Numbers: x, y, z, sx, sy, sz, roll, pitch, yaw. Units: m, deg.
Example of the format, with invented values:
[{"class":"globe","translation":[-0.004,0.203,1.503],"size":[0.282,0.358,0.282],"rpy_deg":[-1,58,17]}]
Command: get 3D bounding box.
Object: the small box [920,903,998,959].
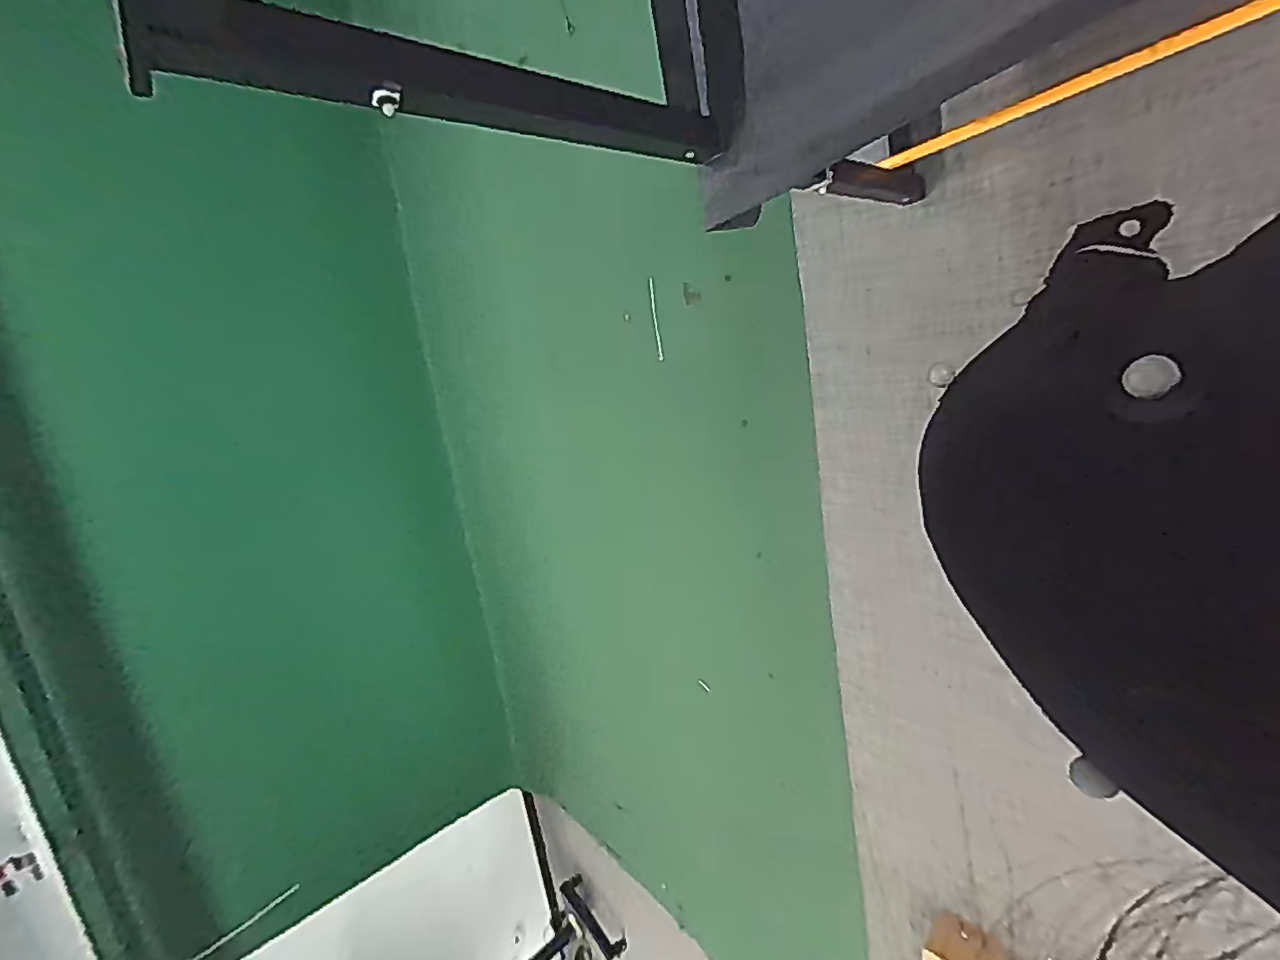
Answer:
[{"class":"small box","translation":[0.991,1.485,1.675],"size":[0.168,0.176,0.179],"rpy_deg":[6,107,50]}]
